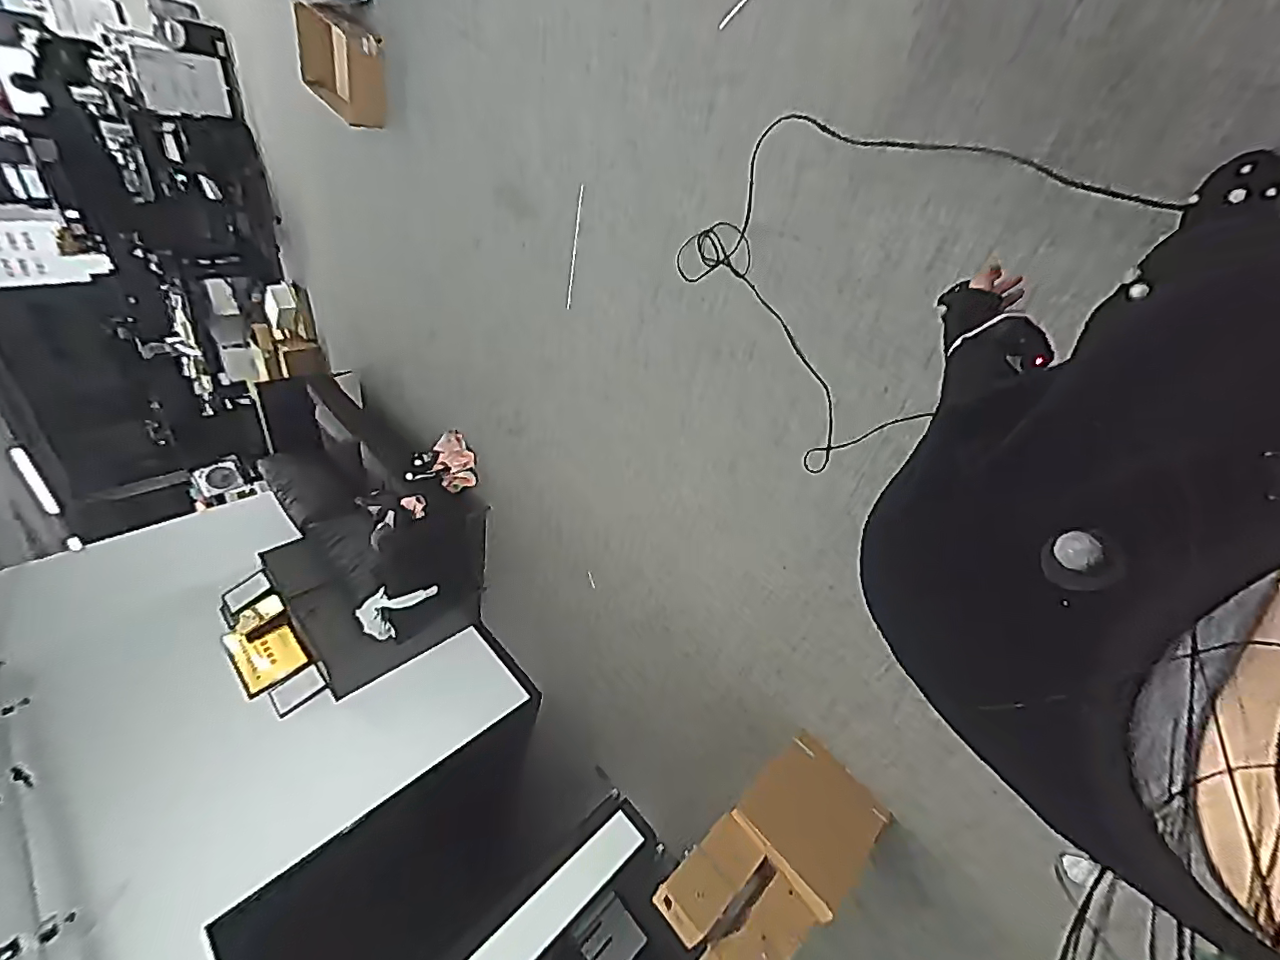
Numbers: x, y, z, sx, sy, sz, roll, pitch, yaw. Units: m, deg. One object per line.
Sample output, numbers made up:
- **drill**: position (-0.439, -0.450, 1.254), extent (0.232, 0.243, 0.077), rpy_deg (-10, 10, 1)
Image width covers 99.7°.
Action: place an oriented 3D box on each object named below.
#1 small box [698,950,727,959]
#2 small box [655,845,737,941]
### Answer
- **small box**: position (0.216, 1.535, 1.578), extent (0.179, 0.176, 0.168), rpy_deg (46, 137, 24)
- **small box**: position (0.184, 1.342, 1.771), extent (0.179, 0.176, 0.168), rpy_deg (39, 134, 26)
